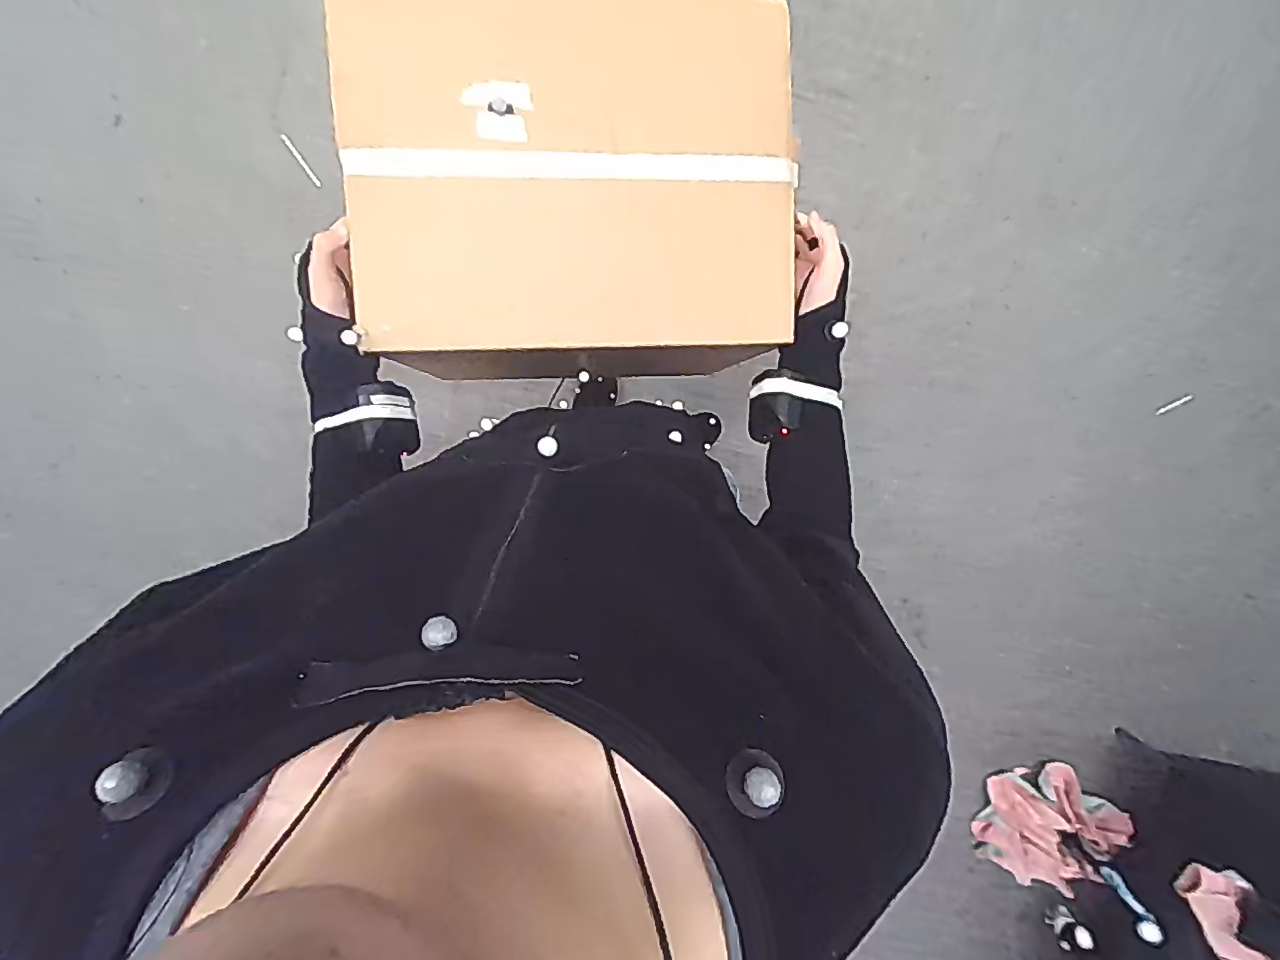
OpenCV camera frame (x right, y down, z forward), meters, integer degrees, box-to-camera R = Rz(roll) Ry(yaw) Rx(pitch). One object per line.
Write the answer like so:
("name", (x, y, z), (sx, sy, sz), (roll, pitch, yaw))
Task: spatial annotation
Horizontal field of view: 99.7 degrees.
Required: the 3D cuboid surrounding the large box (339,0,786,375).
("large box", (-0.072, -0.296, 0.648), (0.408, 0.320, 0.320), (-3, 96, -7))
